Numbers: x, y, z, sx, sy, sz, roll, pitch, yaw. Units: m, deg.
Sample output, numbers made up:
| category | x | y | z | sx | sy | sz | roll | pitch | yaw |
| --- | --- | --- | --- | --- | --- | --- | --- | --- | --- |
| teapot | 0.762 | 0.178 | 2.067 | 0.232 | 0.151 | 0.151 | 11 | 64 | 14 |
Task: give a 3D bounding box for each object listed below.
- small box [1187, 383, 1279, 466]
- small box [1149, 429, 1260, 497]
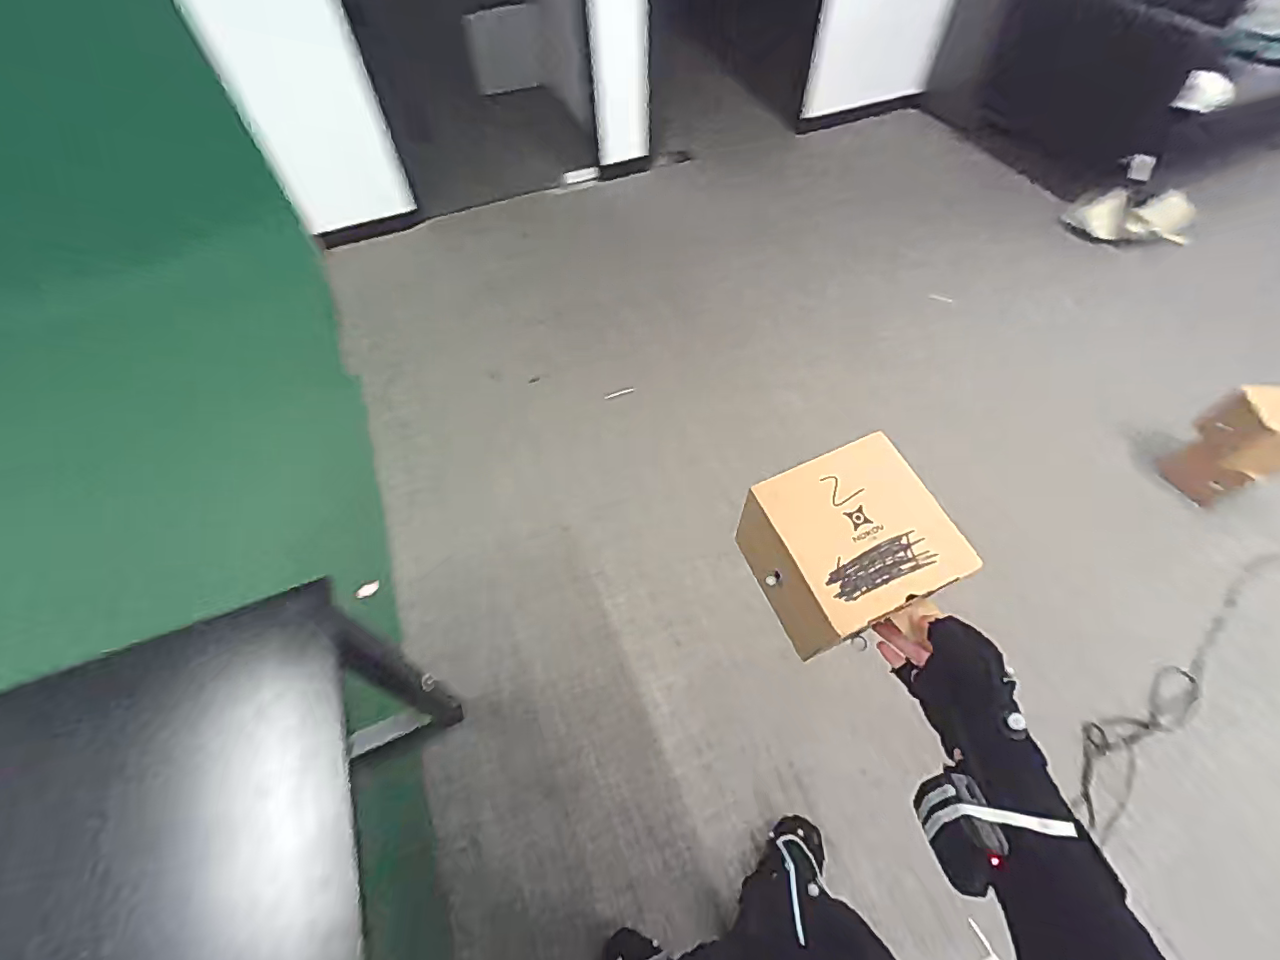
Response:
| category | x | y | z | sx | sy | sz | roll | pitch | yaw |
| --- | --- | --- | --- | --- | --- | --- | --- | --- | --- |
| small box | 1.715 | -0.153 | 1.523 | 0.179 | 0.176 | 0.168 | 4 | 56 | 4 |
| small box | 1.736 | -0.070 | 1.644 | 0.168 | 0.176 | 0.179 | -25 | 58 | -15 |
